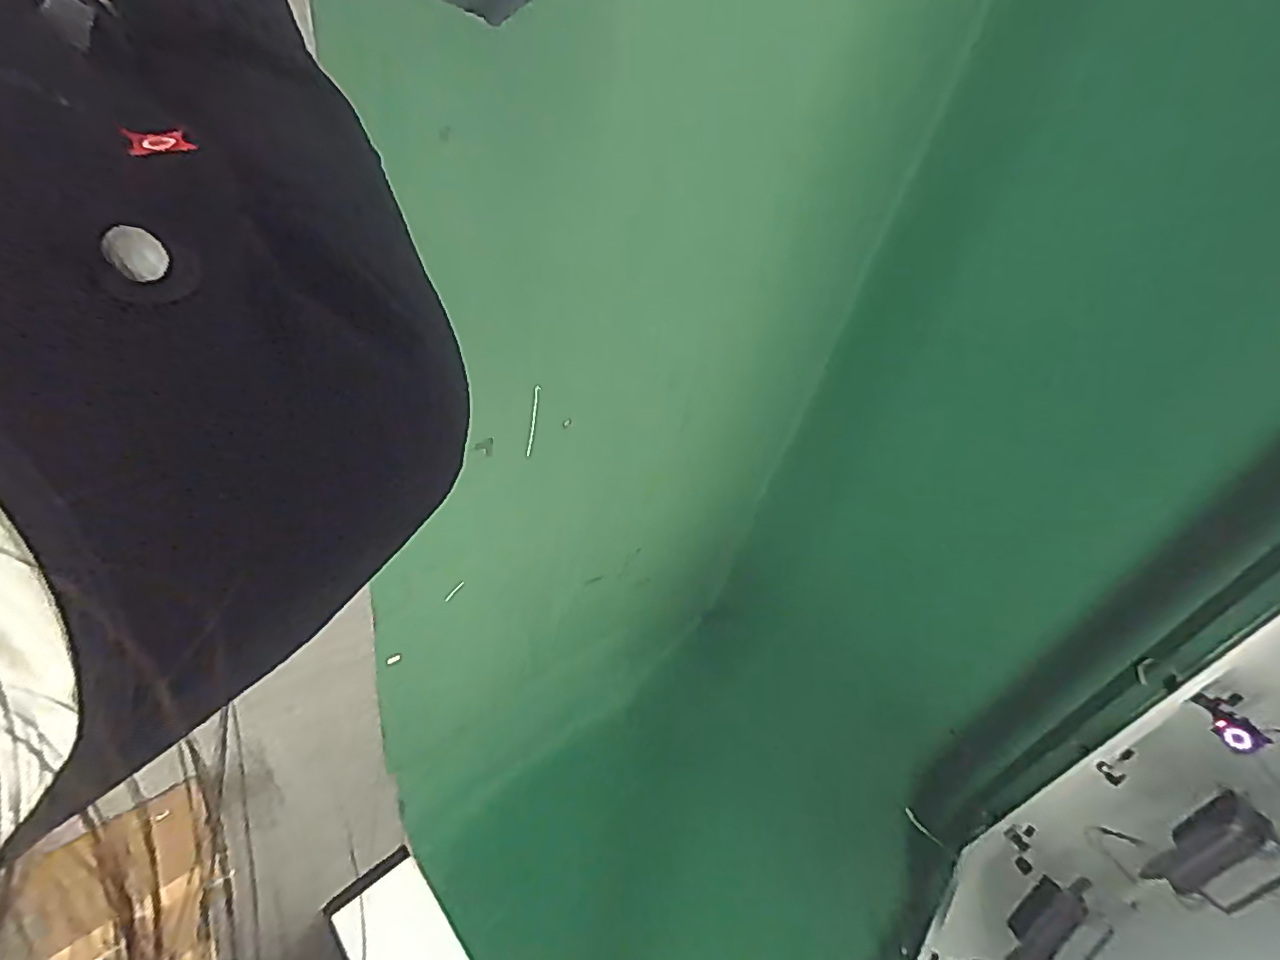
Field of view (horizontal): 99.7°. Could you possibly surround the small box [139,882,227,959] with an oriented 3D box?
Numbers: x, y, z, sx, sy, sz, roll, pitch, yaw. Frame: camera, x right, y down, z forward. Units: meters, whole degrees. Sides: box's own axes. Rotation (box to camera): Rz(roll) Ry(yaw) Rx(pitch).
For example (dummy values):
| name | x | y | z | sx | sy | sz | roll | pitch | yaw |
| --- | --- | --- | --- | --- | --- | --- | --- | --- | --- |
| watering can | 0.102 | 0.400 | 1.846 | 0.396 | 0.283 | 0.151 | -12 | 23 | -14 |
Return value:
| name | x | y | z | sx | sy | sz | roll | pitch | yaw |
| --- | --- | --- | --- | --- | --- | --- | --- | --- | --- |
| small box | -1.413 | 1.410 | 1.671 | 0.179 | 0.176 | 0.168 | -17 | 131 | -46 |
